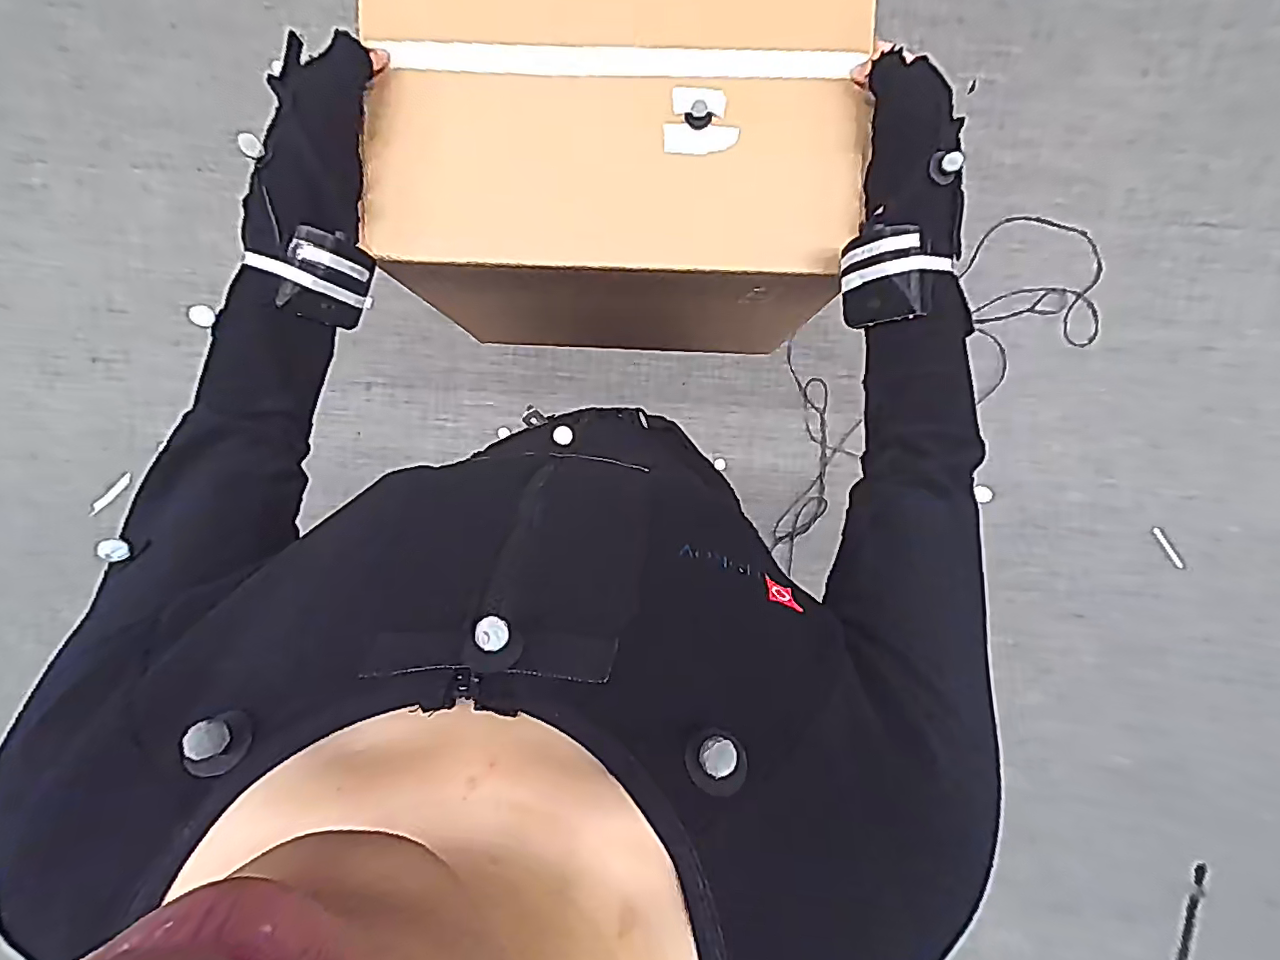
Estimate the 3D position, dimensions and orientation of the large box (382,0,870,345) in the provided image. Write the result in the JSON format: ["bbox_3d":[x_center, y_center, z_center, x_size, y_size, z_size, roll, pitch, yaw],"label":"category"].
[{"bbox_3d":[-0.013,-0.337,0.593,0.408,0.320,0.320,2,92,0],"label":"large box"}]
